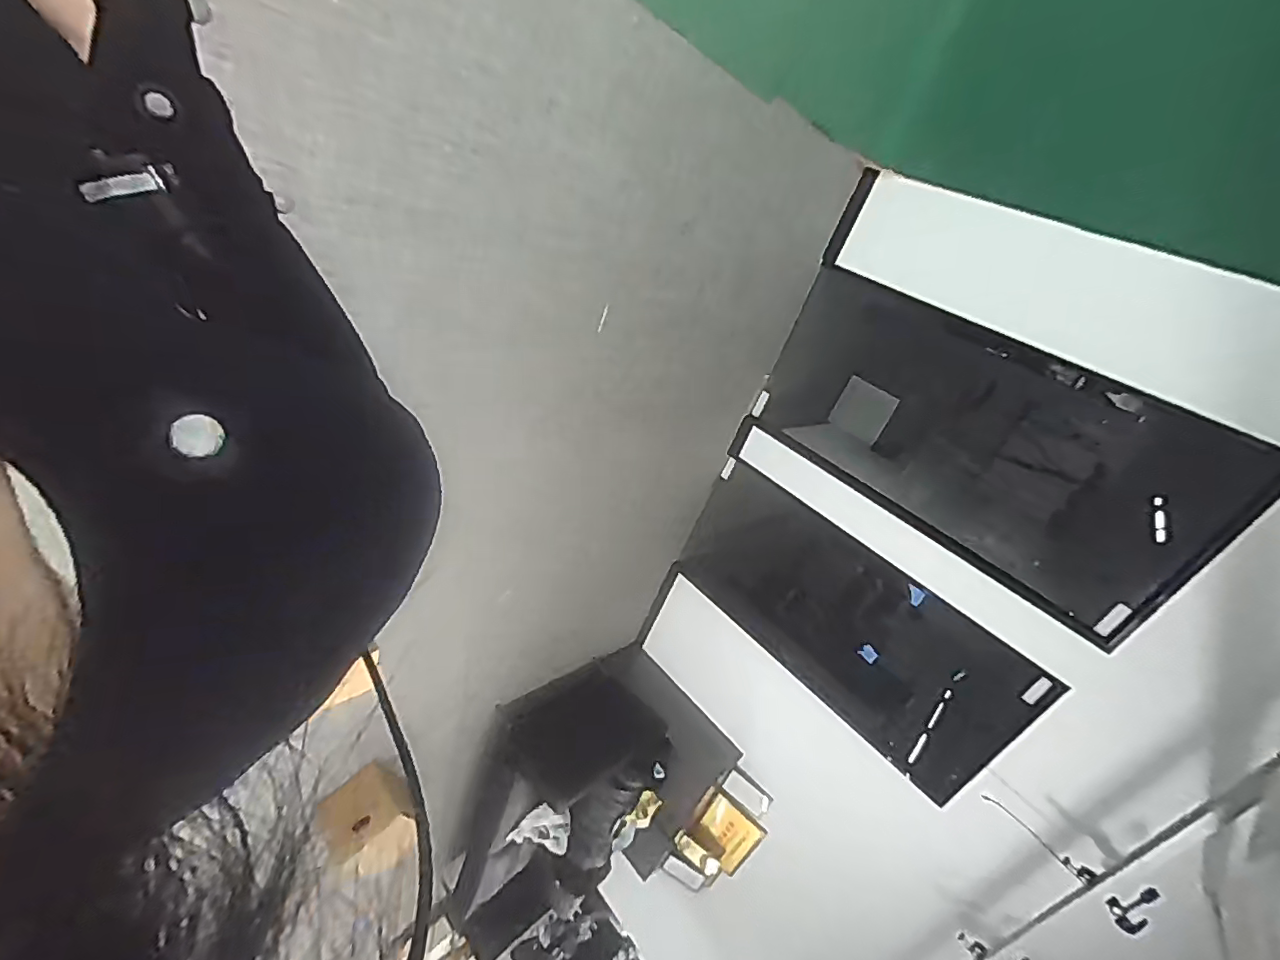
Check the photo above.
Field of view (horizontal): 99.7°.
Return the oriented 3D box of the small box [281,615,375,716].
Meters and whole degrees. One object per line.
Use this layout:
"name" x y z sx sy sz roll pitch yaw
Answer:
"small box" -0.866 0.504 1.499 0.179 0.176 0.168 -13 133 -47
